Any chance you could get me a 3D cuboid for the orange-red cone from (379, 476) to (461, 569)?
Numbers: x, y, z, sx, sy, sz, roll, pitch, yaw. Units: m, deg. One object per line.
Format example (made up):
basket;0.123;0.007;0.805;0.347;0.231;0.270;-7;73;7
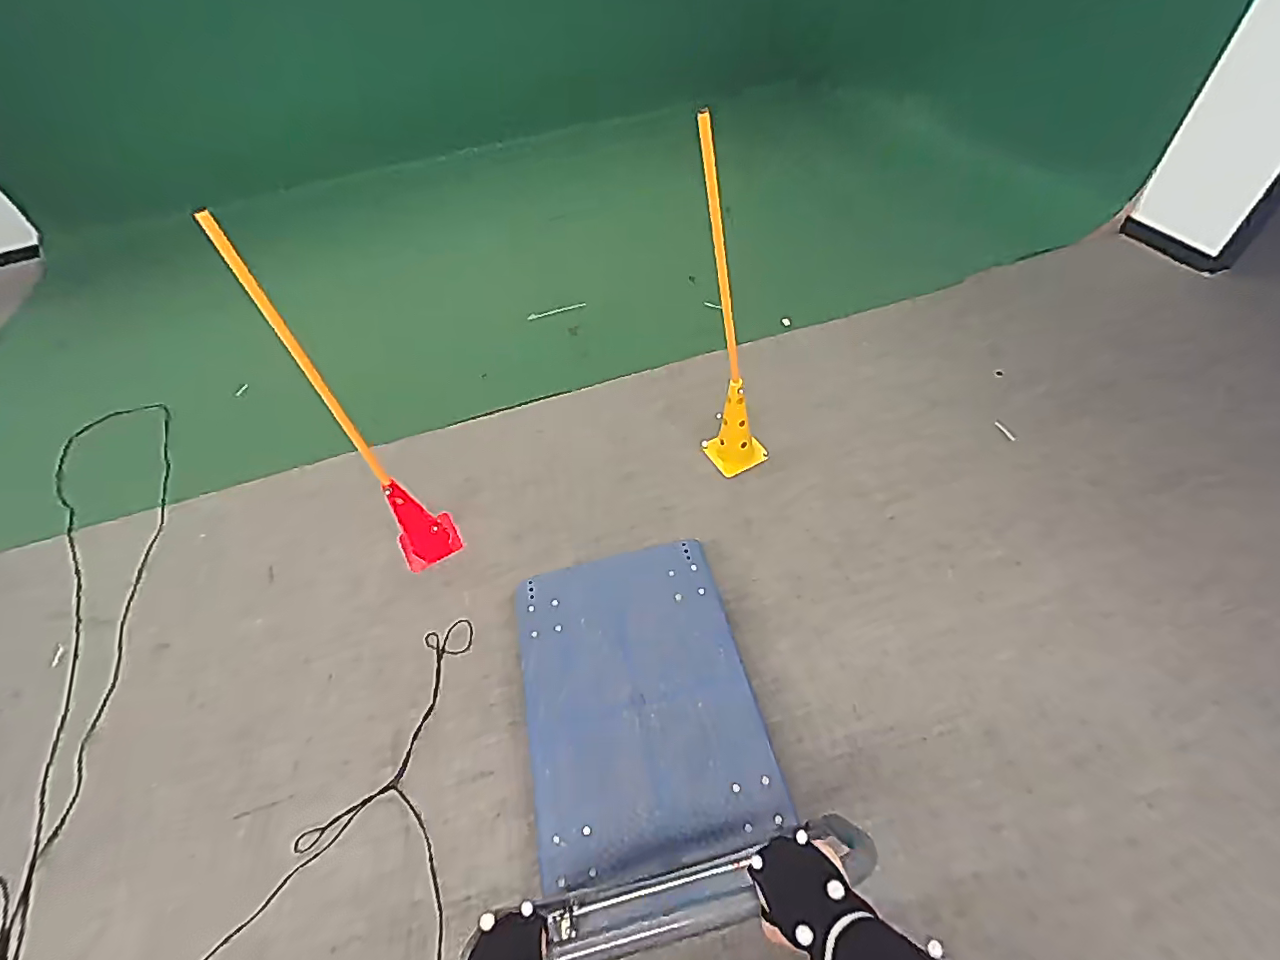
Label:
orange-red cone;-0.784;0.113;1.837;0.199;0.360;0.198;-29;53;-14
